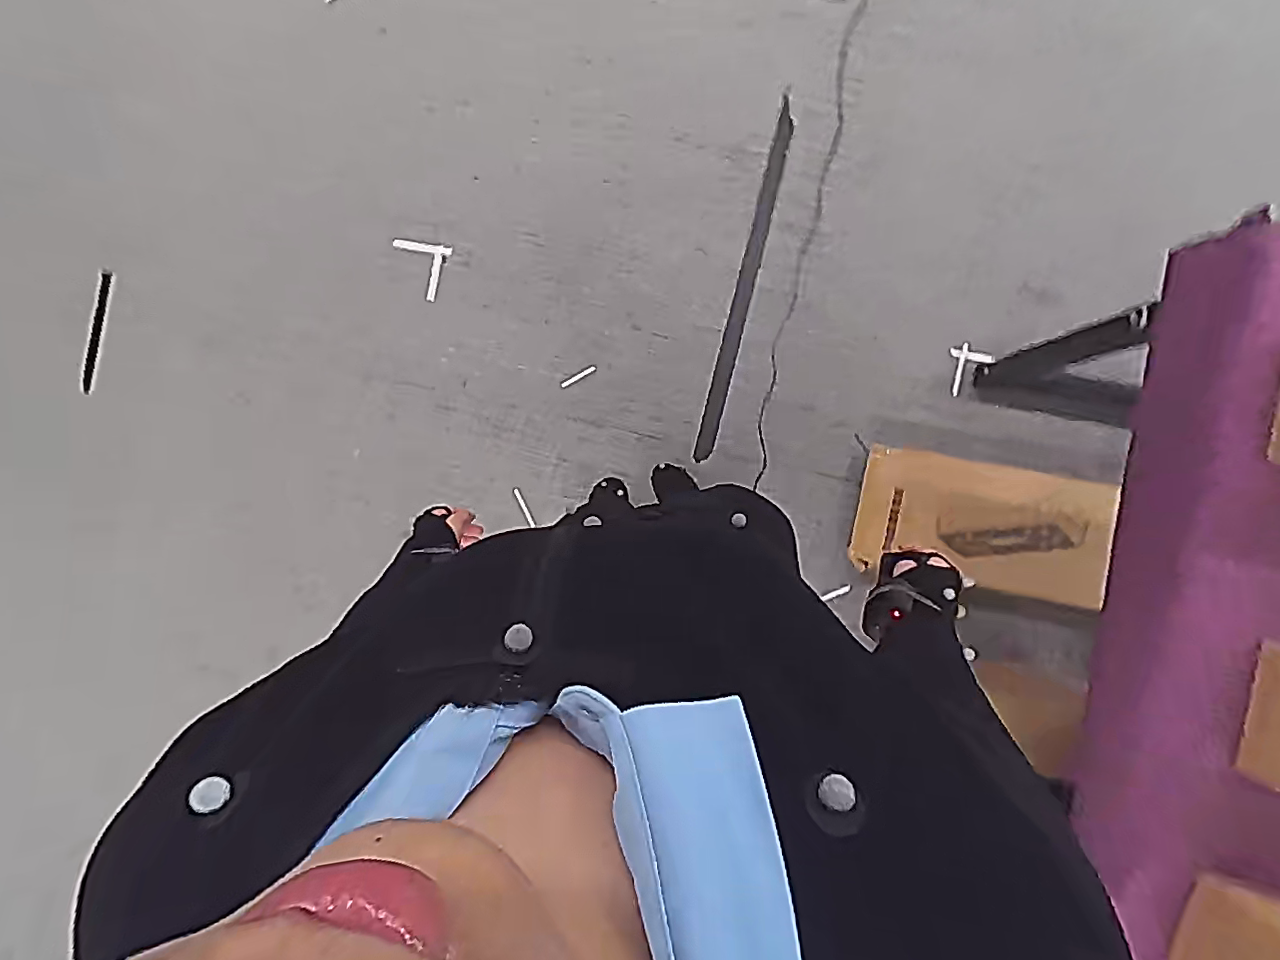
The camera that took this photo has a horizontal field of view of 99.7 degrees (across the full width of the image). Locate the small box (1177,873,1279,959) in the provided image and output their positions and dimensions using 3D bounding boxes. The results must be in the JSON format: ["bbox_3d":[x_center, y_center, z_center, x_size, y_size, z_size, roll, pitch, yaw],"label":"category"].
[{"bbox_3d":[0.783,0.606,0.617,0.168,0.176,0.179,18,92,4],"label":"small box"}]

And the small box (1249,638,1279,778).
[{"bbox_3d":[0.865,0.298,0.608,0.168,0.176,0.179,11,91,2],"label":"small box"}]
